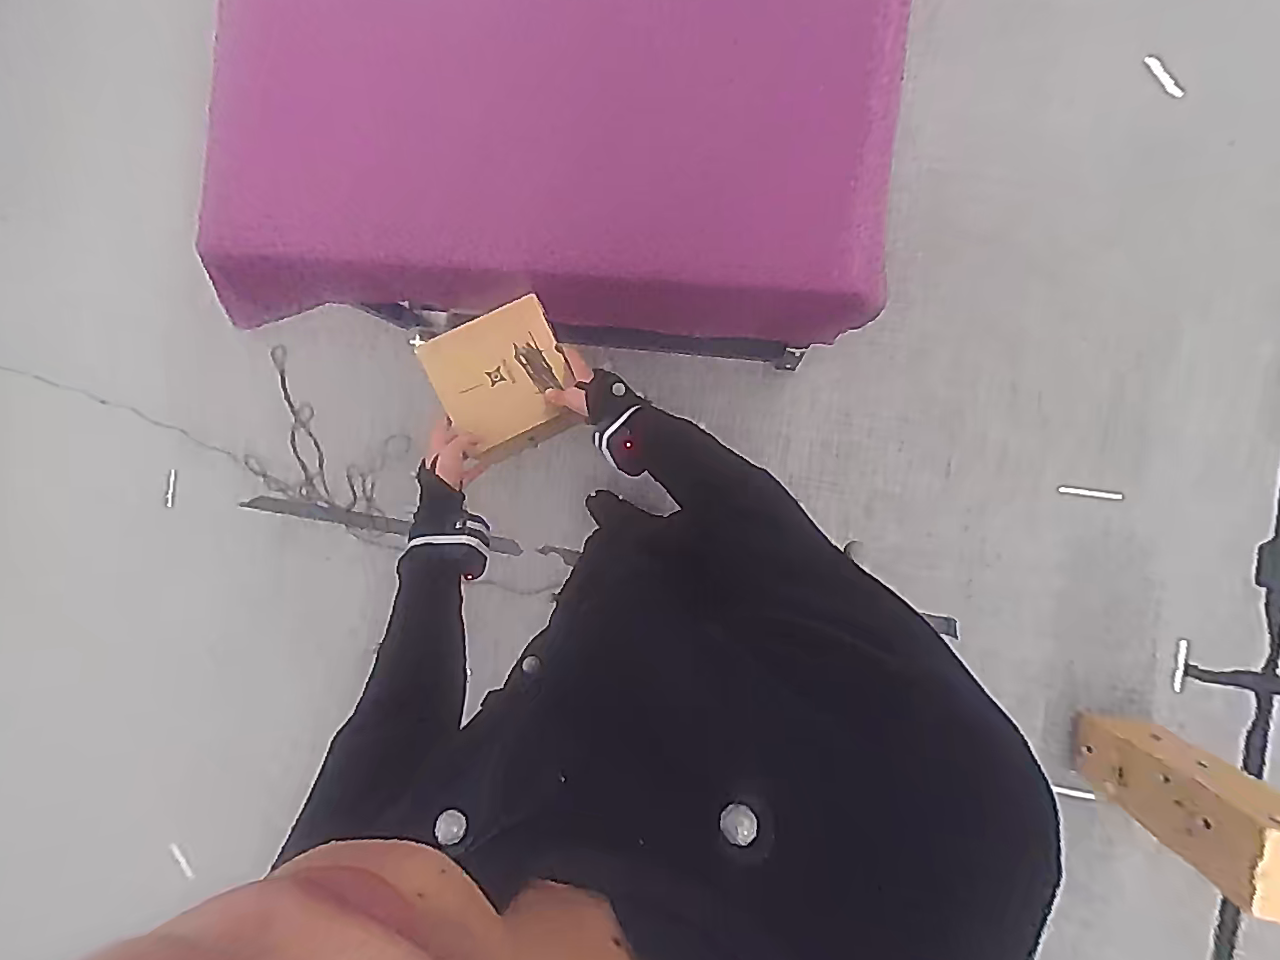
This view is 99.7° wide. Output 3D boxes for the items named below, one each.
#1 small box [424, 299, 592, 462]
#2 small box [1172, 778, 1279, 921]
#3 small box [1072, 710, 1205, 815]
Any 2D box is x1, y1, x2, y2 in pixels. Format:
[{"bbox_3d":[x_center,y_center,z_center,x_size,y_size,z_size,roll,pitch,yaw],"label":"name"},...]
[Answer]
[{"bbox_3d":[-0.182,-0.136,0.803,0.179,0.176,0.168,-26,90,-4],"label":"small box"},{"bbox_3d":[1.188,0.701,1.027,0.179,0.176,0.168,8,93,10],"label":"small box"},{"bbox_3d":[1.235,0.698,1.351,0.179,0.176,0.168,5,92,10],"label":"small box"}]
